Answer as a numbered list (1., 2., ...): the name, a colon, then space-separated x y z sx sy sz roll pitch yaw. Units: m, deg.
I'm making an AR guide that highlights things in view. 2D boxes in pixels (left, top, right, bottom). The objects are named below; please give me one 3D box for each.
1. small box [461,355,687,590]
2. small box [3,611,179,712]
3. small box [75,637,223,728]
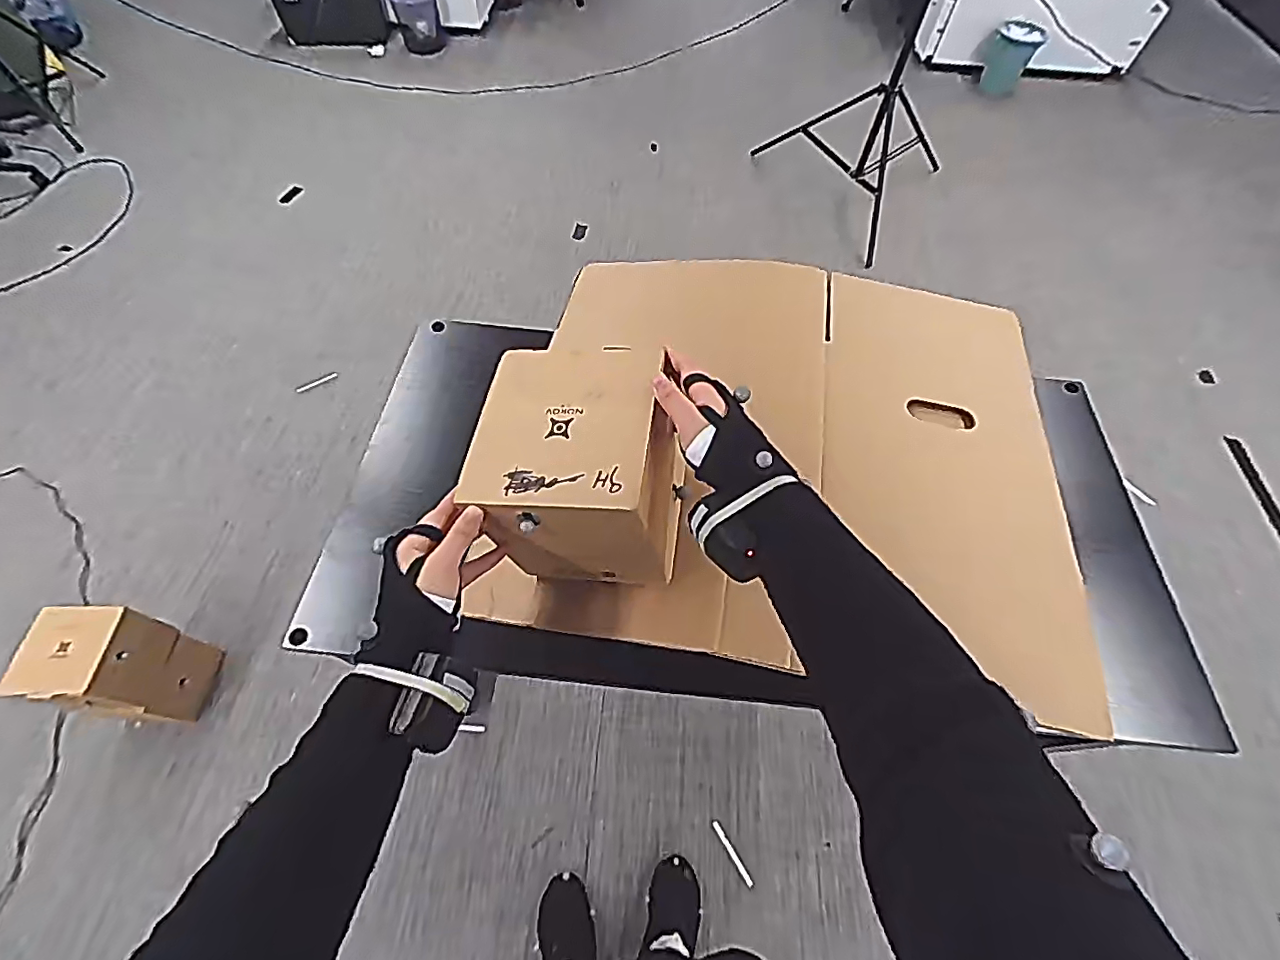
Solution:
1. small box: -0.048 -0.005 0.554 0.168 0.176 0.179 1 58 15
2. small box: -1.138 0.389 1.144 0.168 0.176 0.179 0 58 -3
3. small box: -1.141 0.478 1.279 0.168 0.176 0.179 2 60 0
